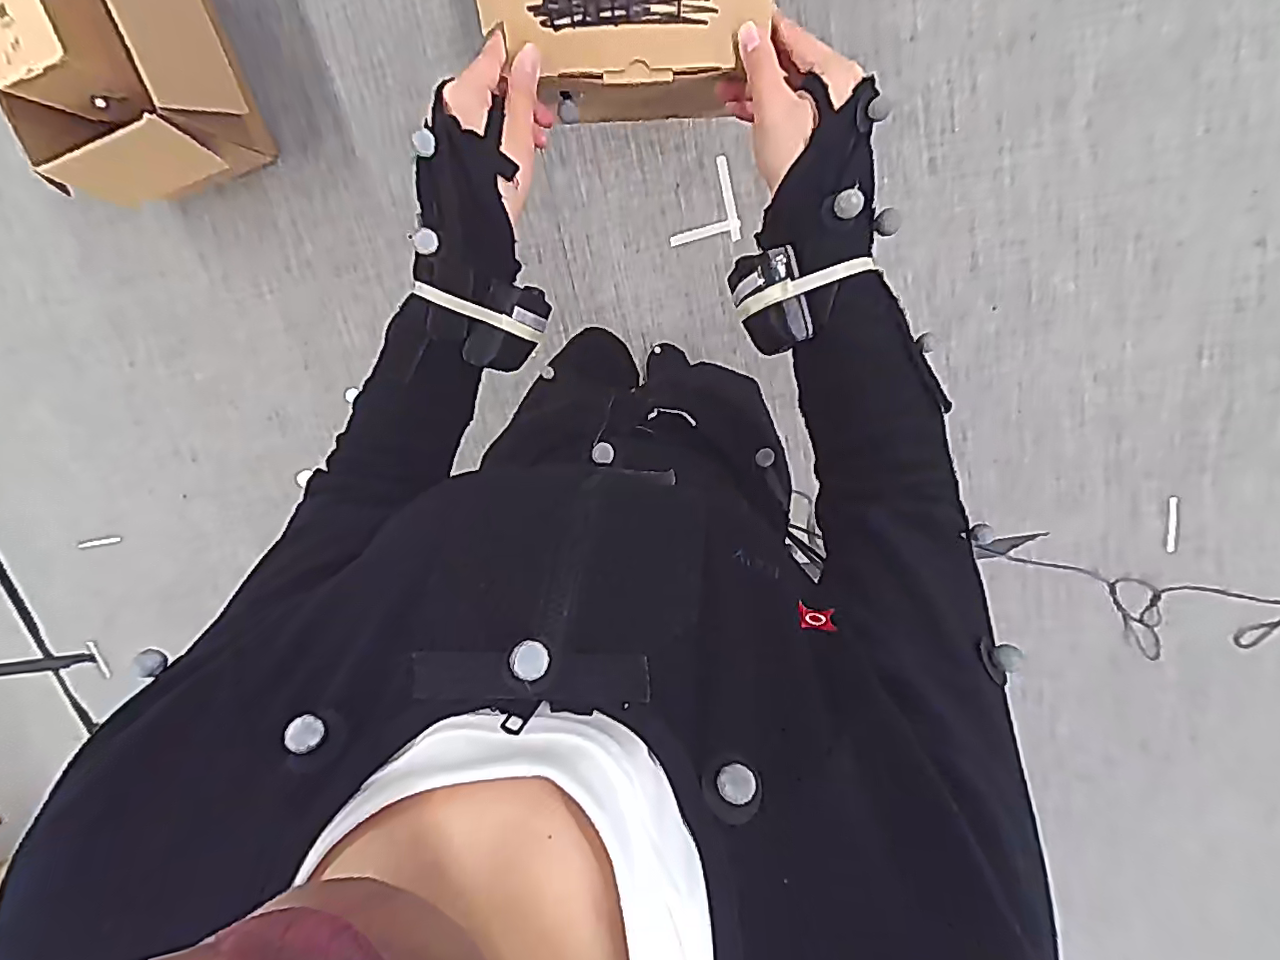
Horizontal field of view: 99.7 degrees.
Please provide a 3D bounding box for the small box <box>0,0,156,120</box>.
[{"bbox_3d":[-1.086,-0.821,1.015,0.168,0.176,0.179,-13,105,11],"label":"small box"}]
